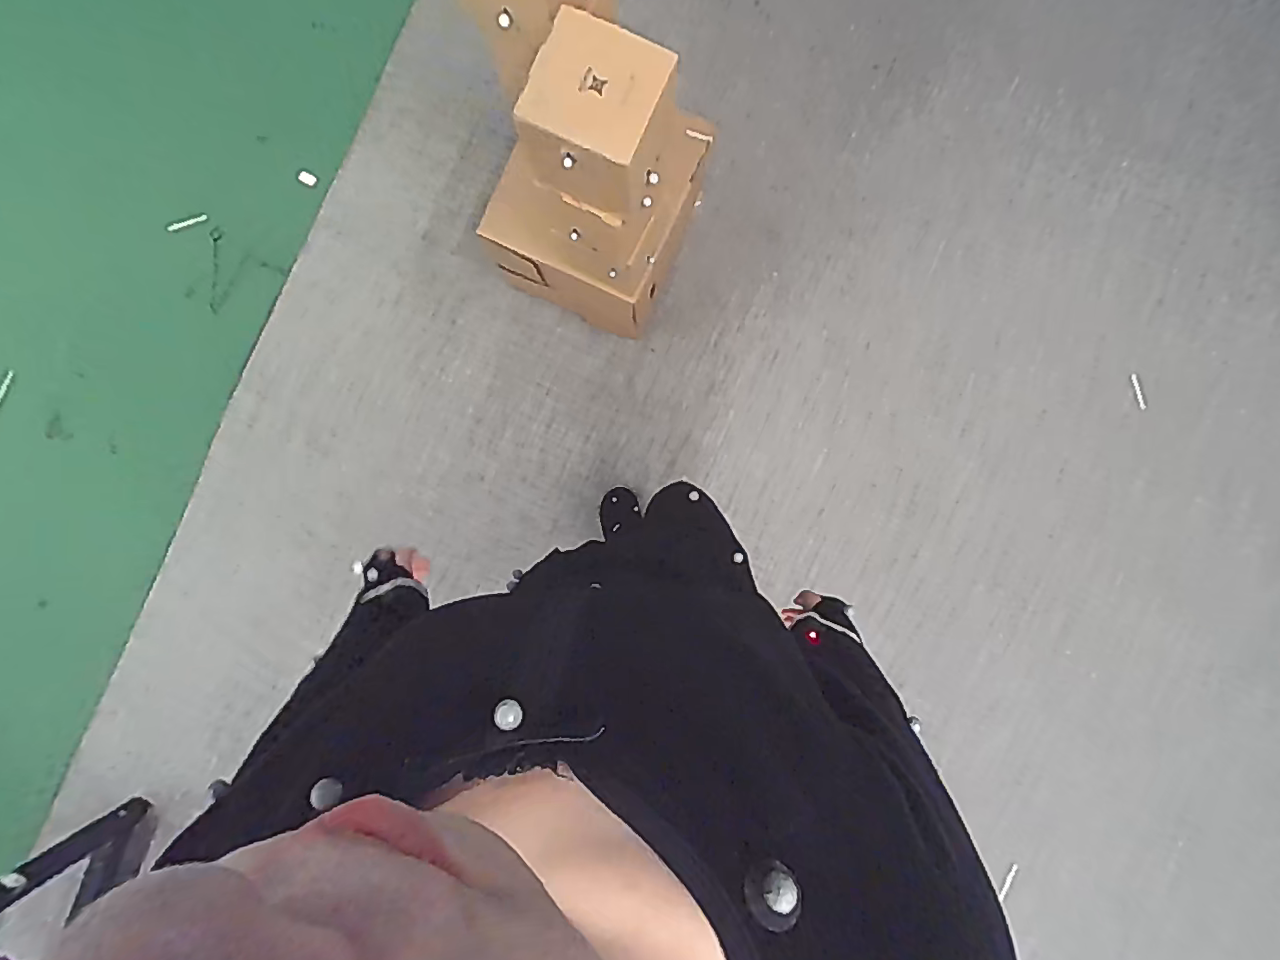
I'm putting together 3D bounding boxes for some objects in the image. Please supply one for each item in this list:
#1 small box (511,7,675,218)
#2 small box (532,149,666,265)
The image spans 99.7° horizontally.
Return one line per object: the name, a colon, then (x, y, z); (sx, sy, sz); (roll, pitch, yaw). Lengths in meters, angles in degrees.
small box: (-0.063, -0.528, 0.805); (0.179, 0.176, 0.168); (25, 91, 0)
small box: (-0.069, -0.526, 0.969); (0.168, 0.176, 0.179); (28, 90, 1)
